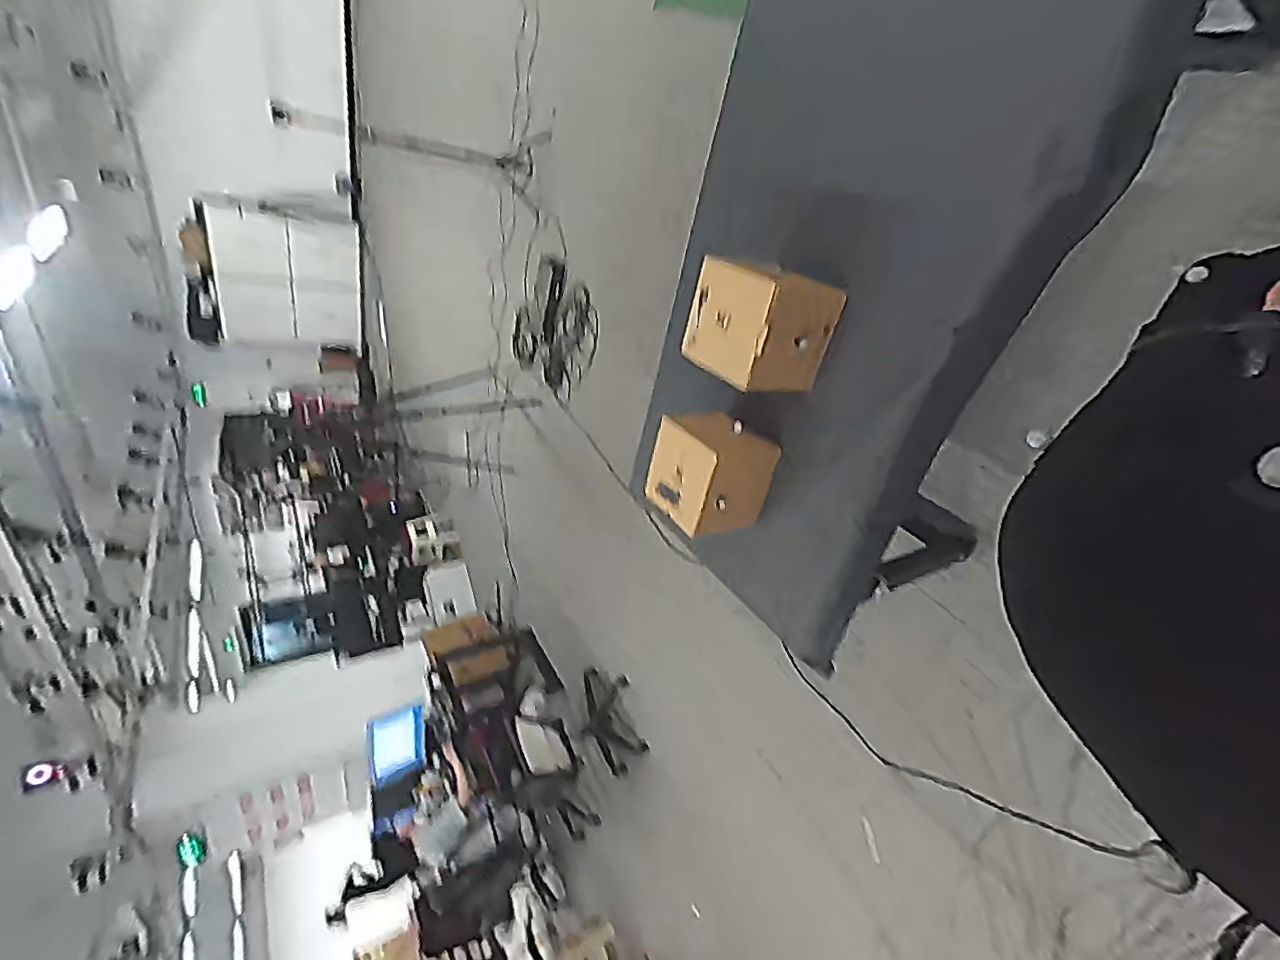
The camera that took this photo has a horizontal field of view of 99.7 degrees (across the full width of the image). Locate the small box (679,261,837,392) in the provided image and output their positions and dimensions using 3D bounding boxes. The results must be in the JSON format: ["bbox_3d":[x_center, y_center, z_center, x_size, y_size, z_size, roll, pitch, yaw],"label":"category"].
[{"bbox_3d":[0.200,-0.263,0.923,0.179,0.176,0.168,43,130,42],"label":"small box"}]

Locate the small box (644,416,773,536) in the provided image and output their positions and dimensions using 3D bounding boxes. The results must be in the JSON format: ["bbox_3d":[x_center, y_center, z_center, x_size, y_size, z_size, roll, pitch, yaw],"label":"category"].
[{"bbox_3d":[0.134,-0.015,1.065,0.168,0.176,0.179,41,128,43],"label":"small box"}]
